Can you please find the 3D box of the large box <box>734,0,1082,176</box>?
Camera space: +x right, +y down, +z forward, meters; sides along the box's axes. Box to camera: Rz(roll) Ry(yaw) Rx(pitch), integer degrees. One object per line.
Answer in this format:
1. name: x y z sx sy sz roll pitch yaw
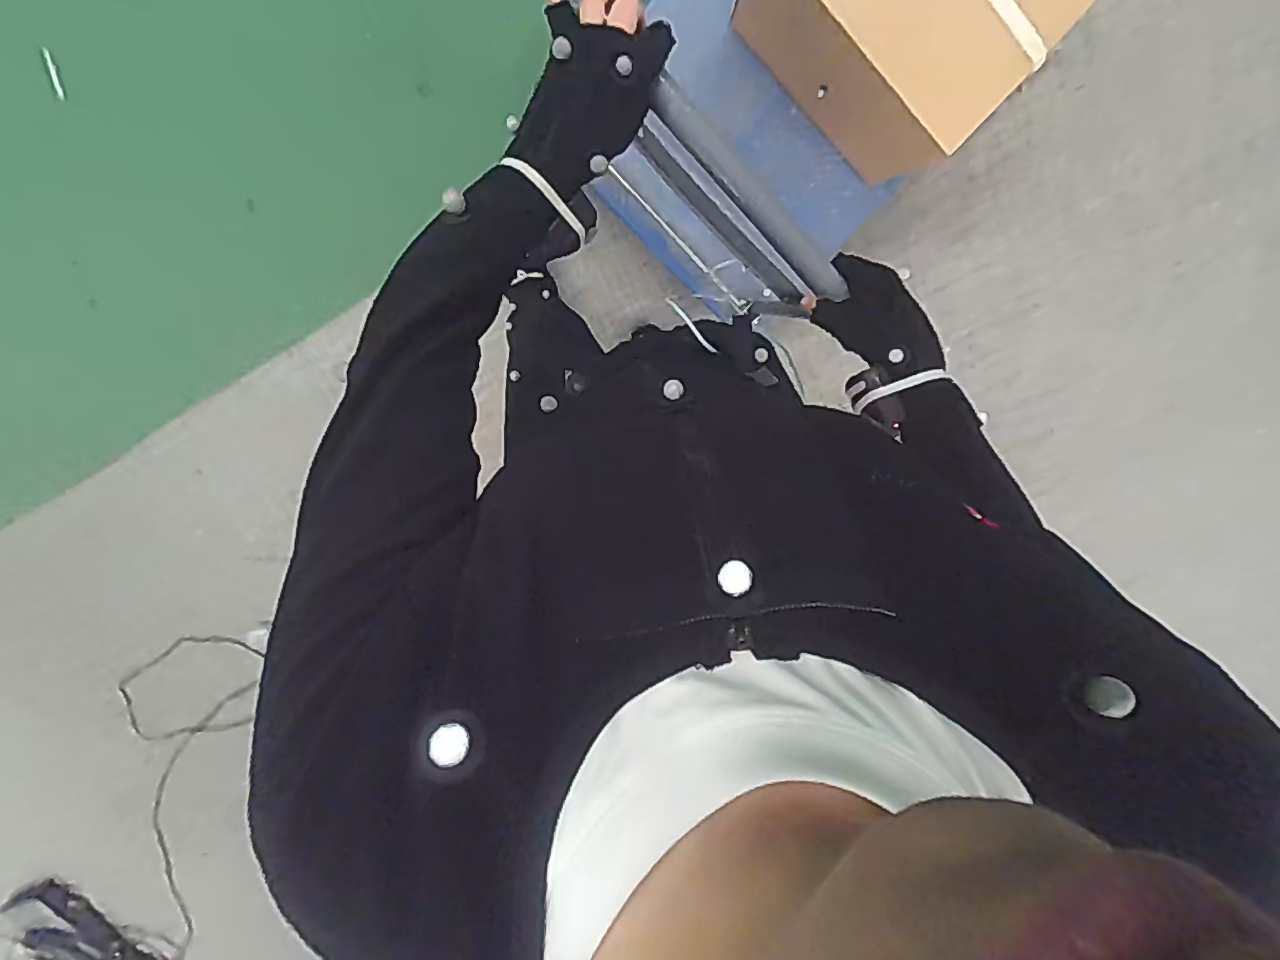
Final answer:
1. large box: 0.415 -0.779 0.869 0.408 0.320 0.320 39 106 -13
